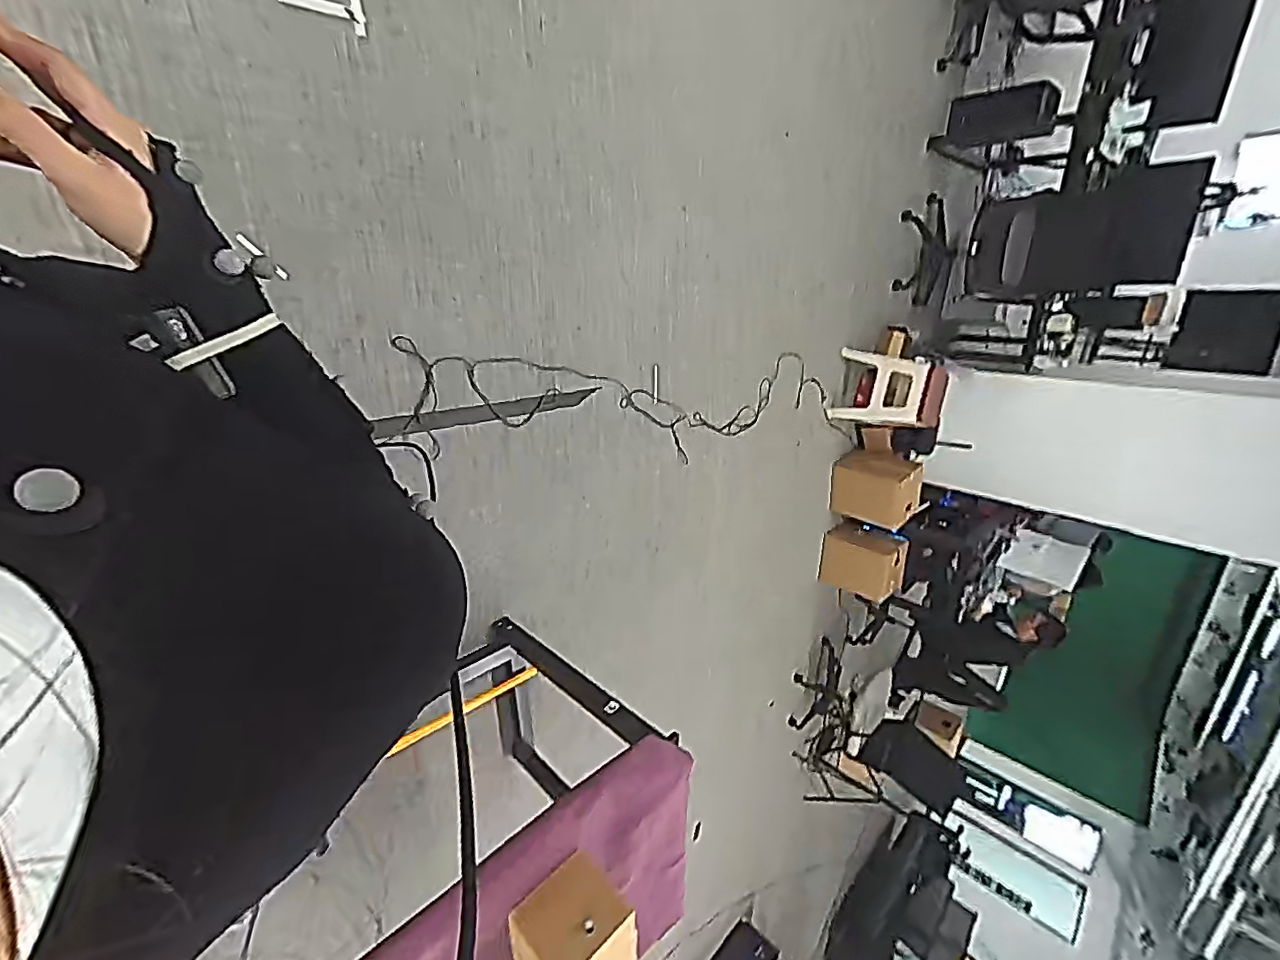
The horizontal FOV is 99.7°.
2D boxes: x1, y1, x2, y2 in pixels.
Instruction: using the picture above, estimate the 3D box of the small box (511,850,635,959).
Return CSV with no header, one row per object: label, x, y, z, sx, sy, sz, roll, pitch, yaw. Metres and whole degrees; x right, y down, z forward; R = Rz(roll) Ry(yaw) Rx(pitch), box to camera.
small box,-0.131,0.868,1.025,0.179,0.176,0.168,-21,118,-41
